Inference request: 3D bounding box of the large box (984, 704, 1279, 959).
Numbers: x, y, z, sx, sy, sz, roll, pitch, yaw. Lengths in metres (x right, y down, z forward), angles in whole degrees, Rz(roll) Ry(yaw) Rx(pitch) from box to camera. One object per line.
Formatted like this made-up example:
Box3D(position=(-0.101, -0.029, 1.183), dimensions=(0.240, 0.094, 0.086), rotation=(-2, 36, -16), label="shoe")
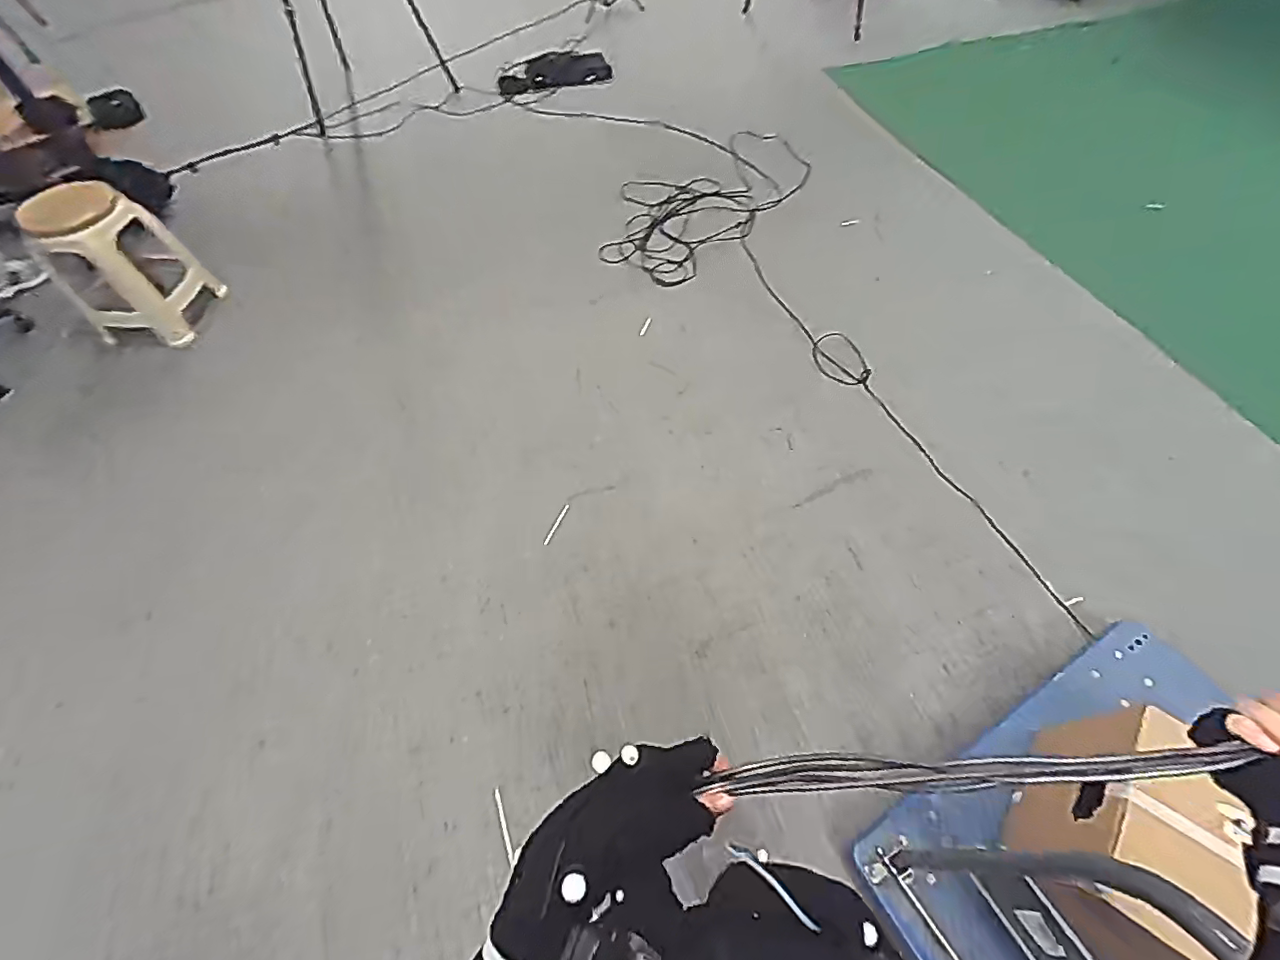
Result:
Box3D(position=(0.885, 0.642, 0.885), dimensions=(0.408, 0.320, 0.320), rotation=(31, 64, 20), label="large box")
